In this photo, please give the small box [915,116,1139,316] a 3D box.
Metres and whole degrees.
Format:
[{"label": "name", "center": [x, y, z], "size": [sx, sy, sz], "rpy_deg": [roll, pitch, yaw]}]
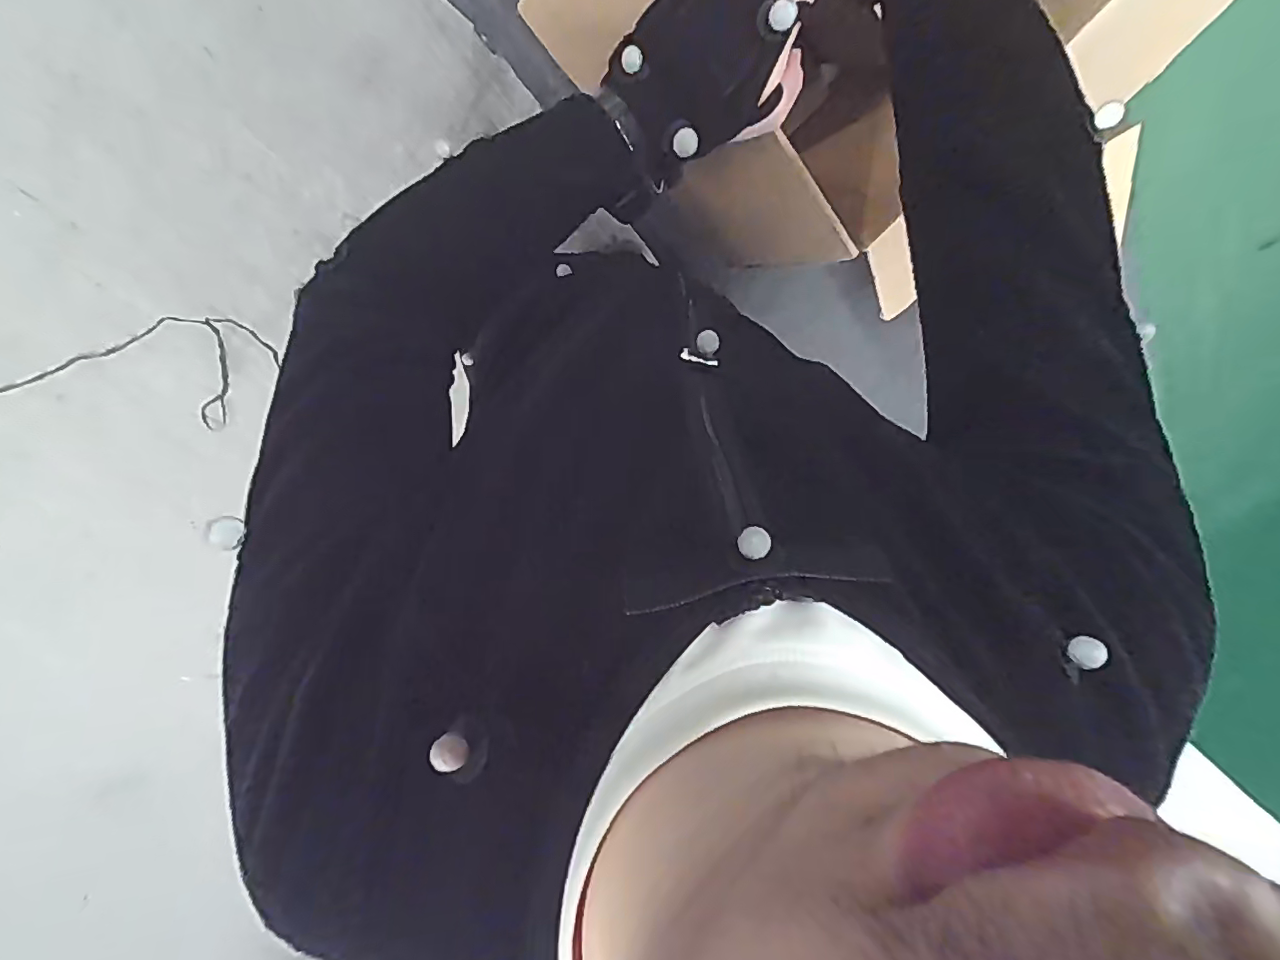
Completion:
[{"label": "small box", "center": [0.491, -0.353, 0.719], "size": [0.179, 0.176, 0.168], "rpy_deg": [-28, 129, 3]}]
